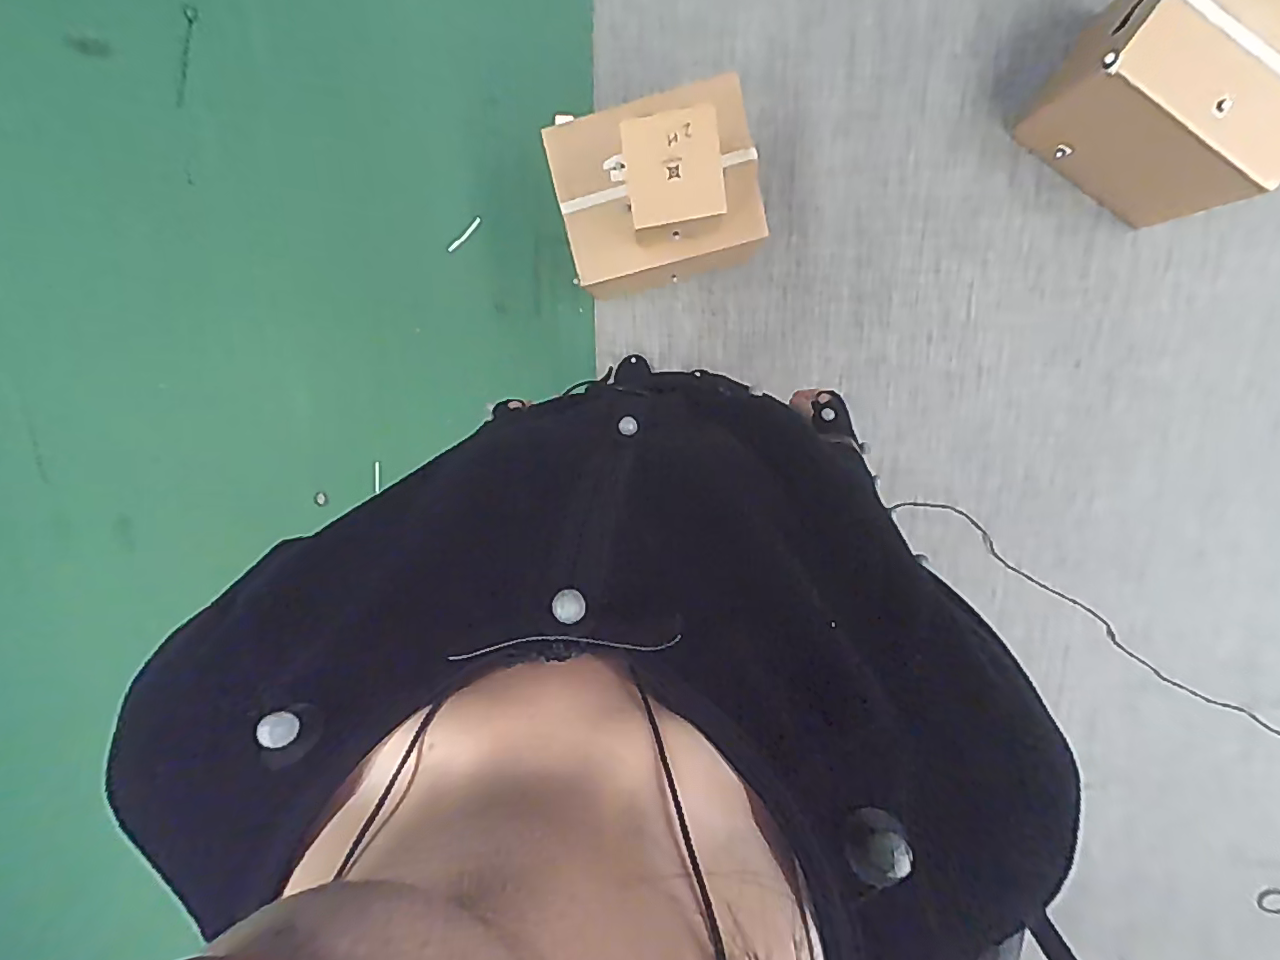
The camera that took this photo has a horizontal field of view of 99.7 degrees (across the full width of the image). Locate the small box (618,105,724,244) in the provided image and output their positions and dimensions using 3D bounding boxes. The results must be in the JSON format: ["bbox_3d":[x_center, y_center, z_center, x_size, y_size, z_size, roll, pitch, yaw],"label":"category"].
[{"bbox_3d":[0.057,-0.544,0.993,0.168,0.176,0.179,-8,102,3],"label":"small box"}]

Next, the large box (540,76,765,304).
[{"bbox_3d":[0.037,-0.619,1.231,0.408,0.320,0.320,-13,100,7],"label":"large box"}]
